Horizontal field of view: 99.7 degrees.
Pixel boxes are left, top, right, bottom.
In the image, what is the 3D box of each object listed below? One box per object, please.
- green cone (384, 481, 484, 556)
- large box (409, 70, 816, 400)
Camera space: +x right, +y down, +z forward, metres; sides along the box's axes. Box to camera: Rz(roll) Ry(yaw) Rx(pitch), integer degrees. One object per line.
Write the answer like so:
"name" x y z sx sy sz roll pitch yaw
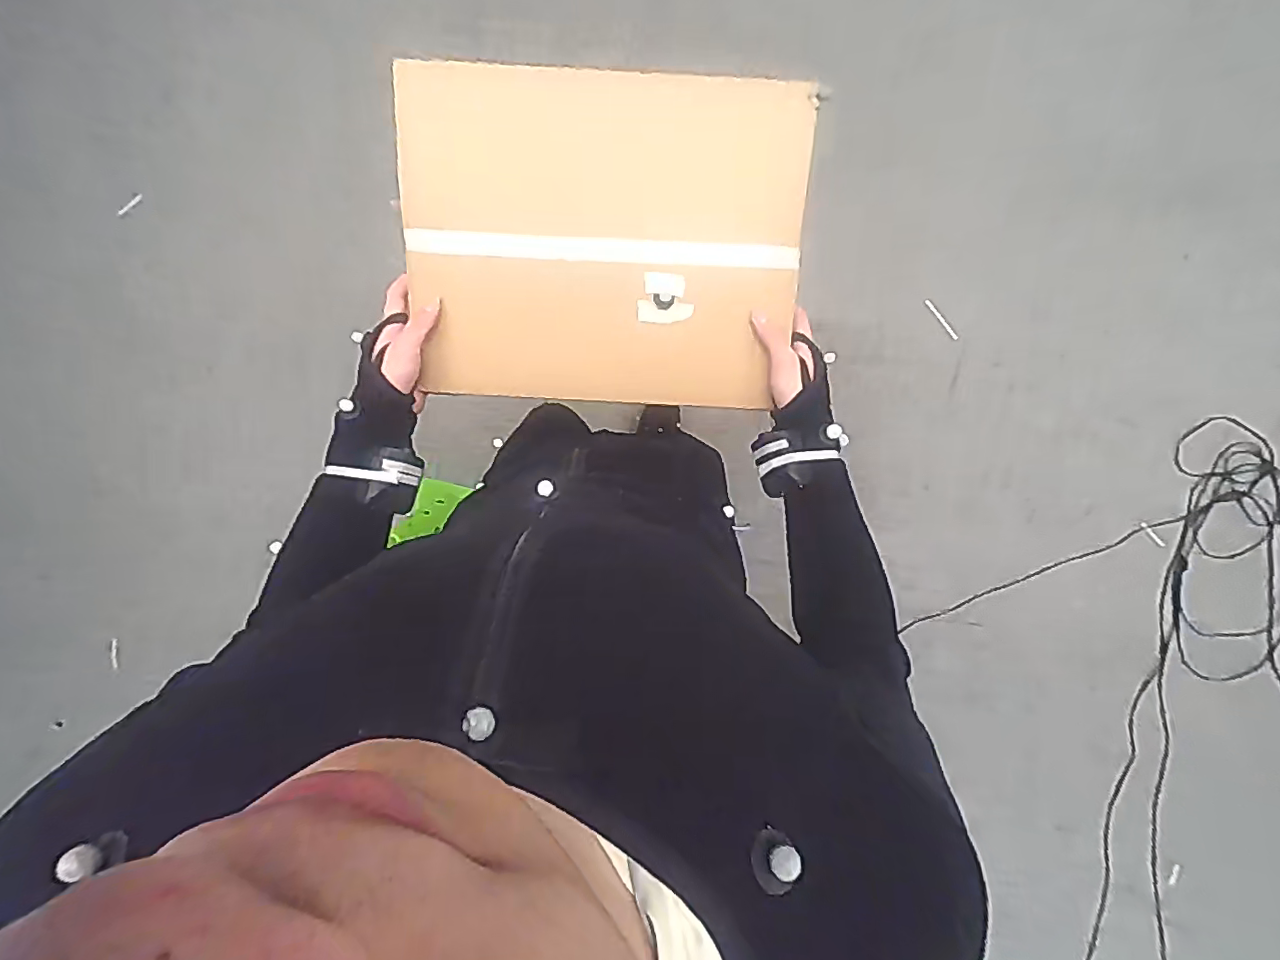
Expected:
"green cone" -0.599 0.137 1.495 0.200 0.368 0.202 13 98 1
"large box" -0.032 -0.282 0.705 0.408 0.320 0.320 2 107 -1
